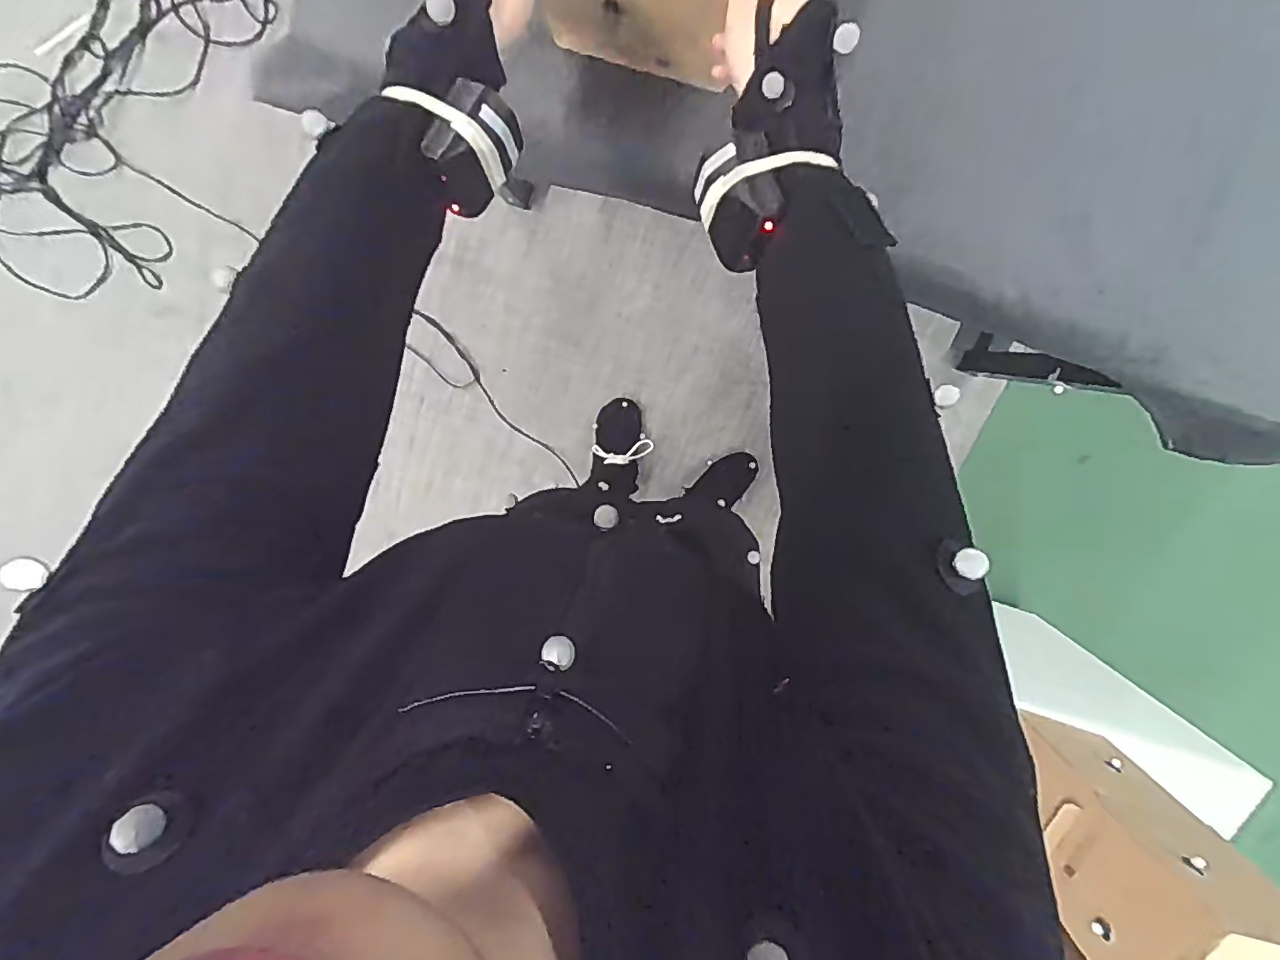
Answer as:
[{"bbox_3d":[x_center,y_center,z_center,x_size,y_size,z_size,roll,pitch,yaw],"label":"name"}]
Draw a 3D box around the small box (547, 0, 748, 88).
[{"bbox_3d":[0.019,-0.447,0.417,0.168,0.176,0.179,13,104,-4],"label":"small box"}]
